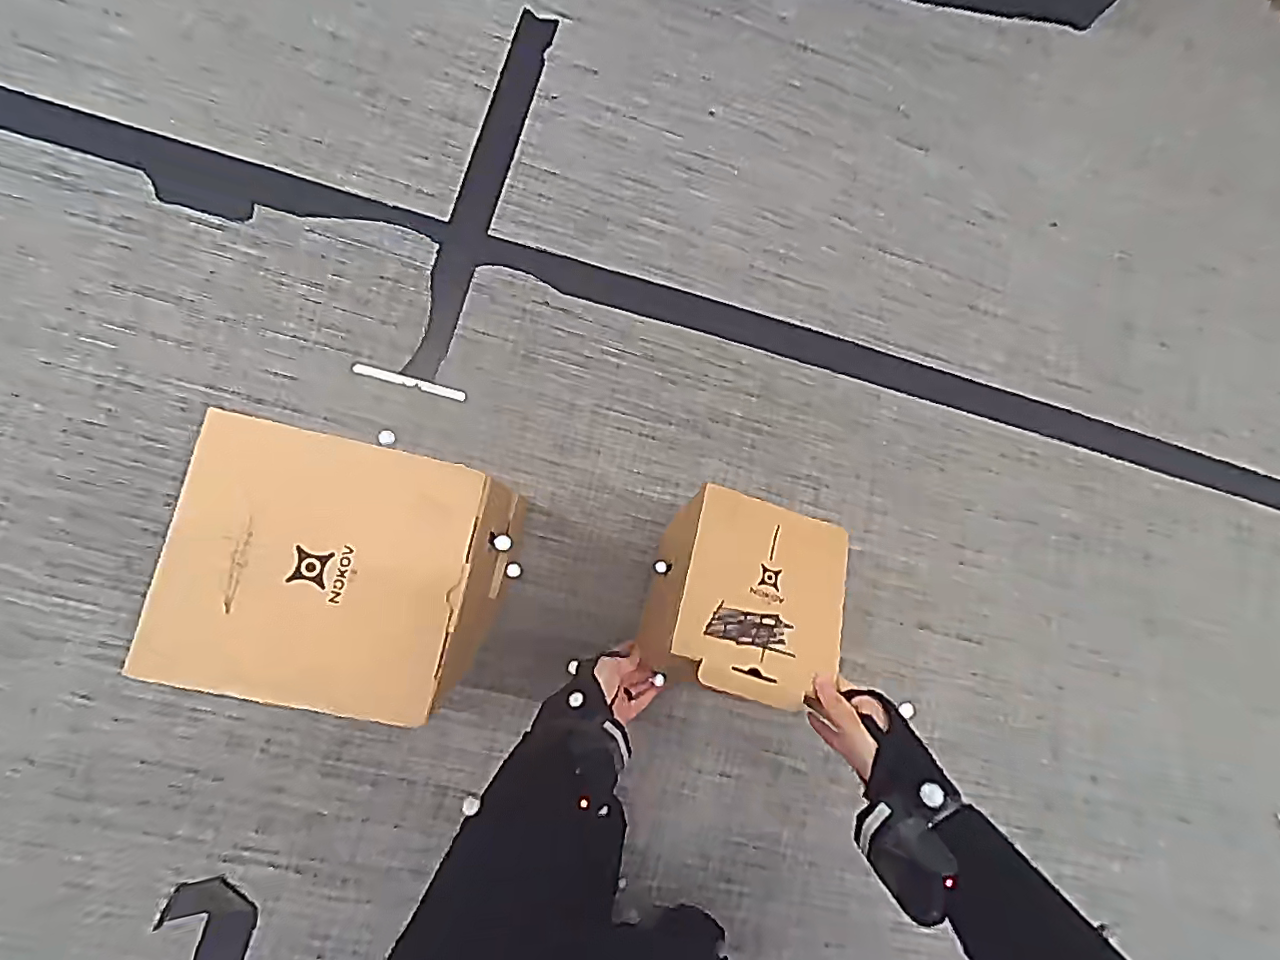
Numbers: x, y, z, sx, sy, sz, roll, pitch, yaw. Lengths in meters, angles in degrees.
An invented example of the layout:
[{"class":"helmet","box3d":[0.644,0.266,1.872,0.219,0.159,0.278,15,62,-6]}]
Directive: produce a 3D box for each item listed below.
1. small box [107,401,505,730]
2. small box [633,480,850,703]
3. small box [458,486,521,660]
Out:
[{"class":"small box","box3d":[-0.208,0.057,0.398,0.179,0.176,0.168,14,83,-7]},{"class":"small box","box3d":[0.100,0.130,0.583,0.168,0.176,0.179,19,64,-7]},{"class":"small box","box3d":[-0.230,0.067,0.560,0.179,0.176,0.168,16,83,-8]}]
